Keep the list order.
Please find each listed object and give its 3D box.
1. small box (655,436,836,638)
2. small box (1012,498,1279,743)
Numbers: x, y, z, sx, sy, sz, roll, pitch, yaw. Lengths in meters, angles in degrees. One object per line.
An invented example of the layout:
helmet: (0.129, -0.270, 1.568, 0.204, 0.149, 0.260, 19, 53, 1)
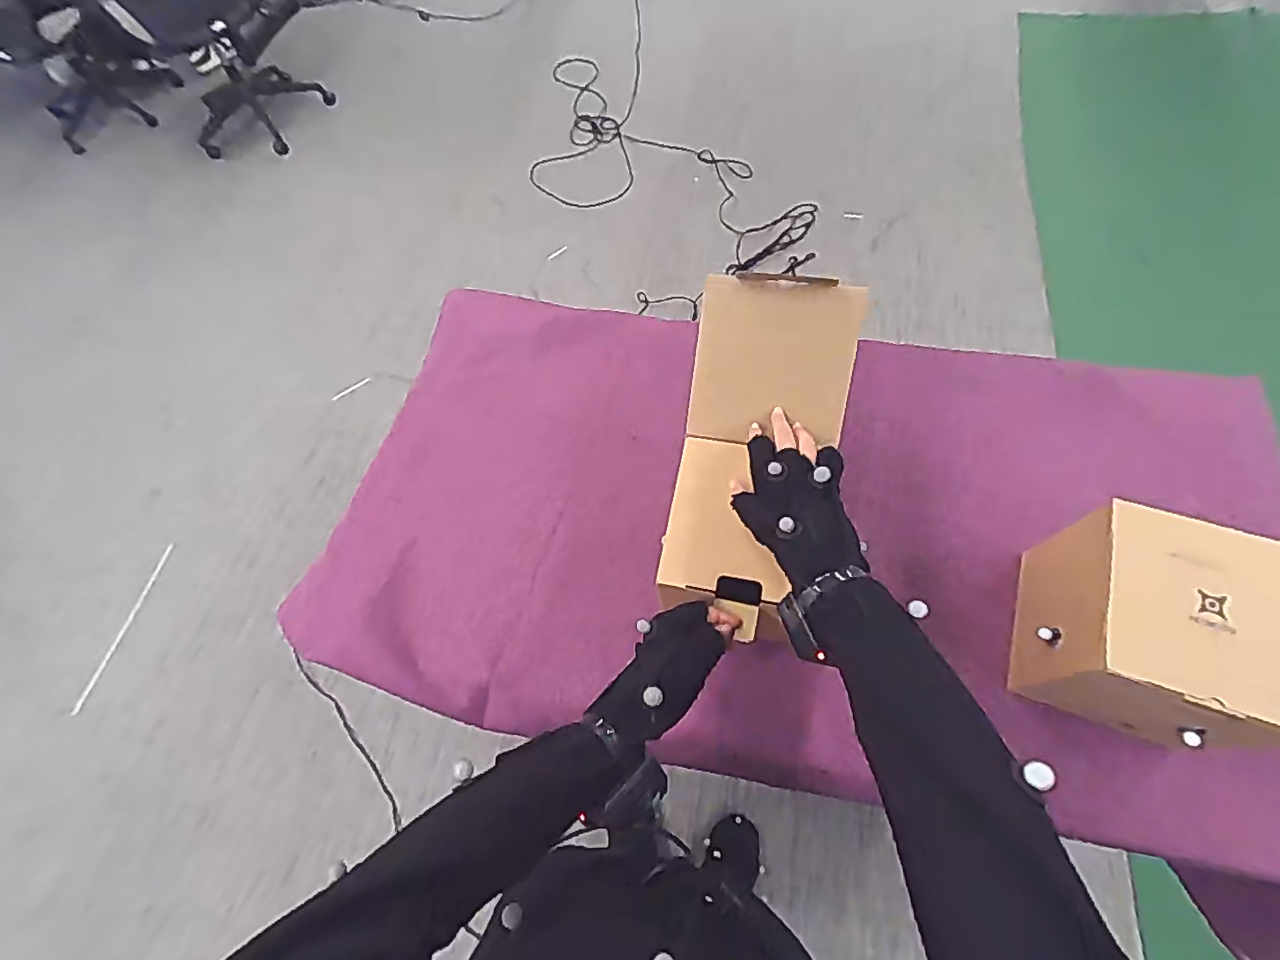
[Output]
small box: (0.120, 0.074, 0.629, 0.168, 0.176, 0.179, 9, 65, 10)
small box: (0.511, 0.149, 0.547, 0.168, 0.176, 0.179, 18, 67, 14)
